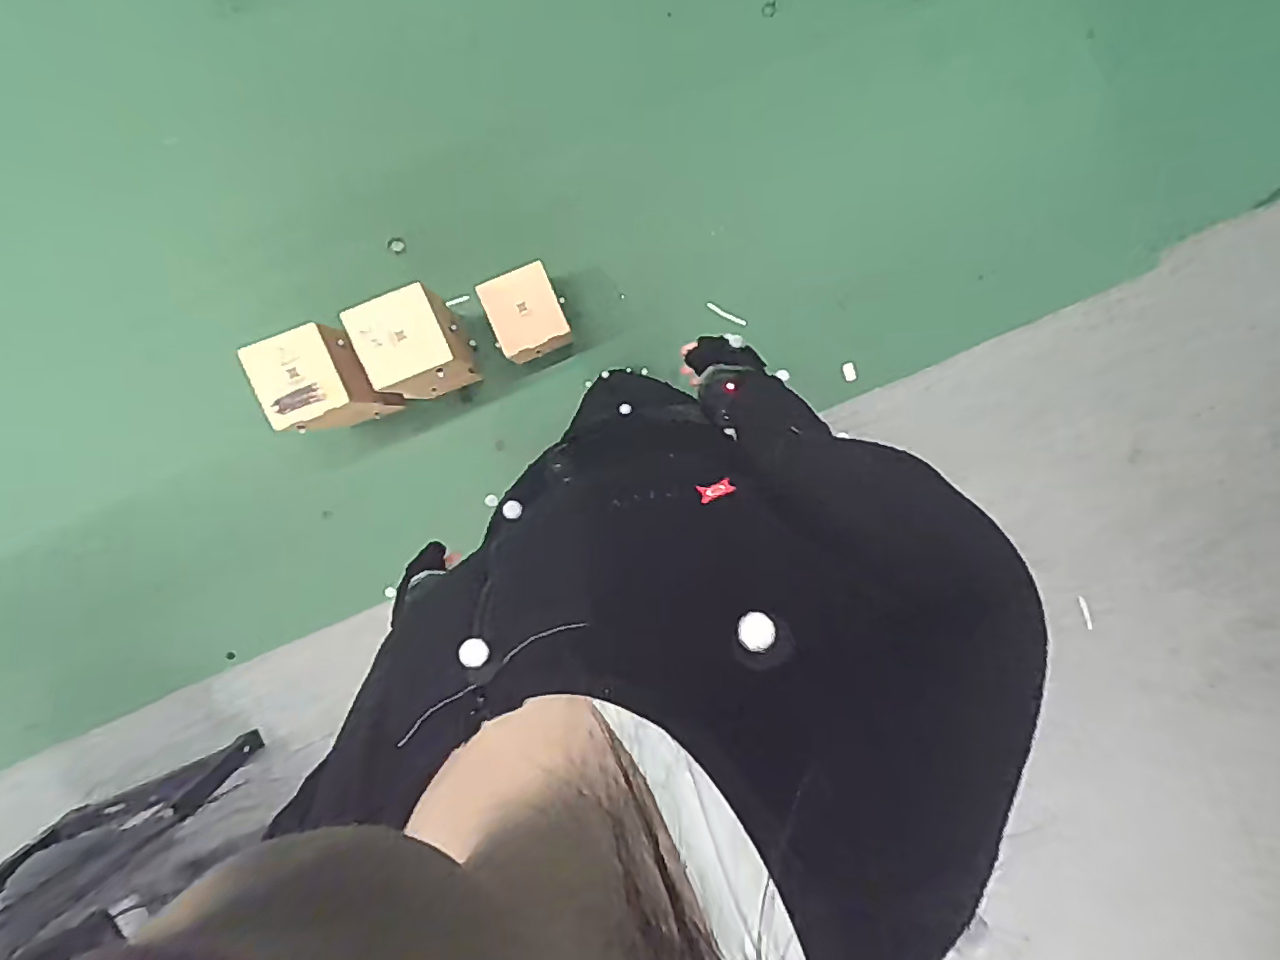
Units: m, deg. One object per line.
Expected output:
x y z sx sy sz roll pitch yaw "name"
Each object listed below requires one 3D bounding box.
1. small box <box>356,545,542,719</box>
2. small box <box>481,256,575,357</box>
-0.231 0.186 0.687 0.168 0.179 0.176 10 79 -1 "small box"
-0.269 -0.419 1.337 0.168 0.176 0.179 -24 99 0 "small box"
